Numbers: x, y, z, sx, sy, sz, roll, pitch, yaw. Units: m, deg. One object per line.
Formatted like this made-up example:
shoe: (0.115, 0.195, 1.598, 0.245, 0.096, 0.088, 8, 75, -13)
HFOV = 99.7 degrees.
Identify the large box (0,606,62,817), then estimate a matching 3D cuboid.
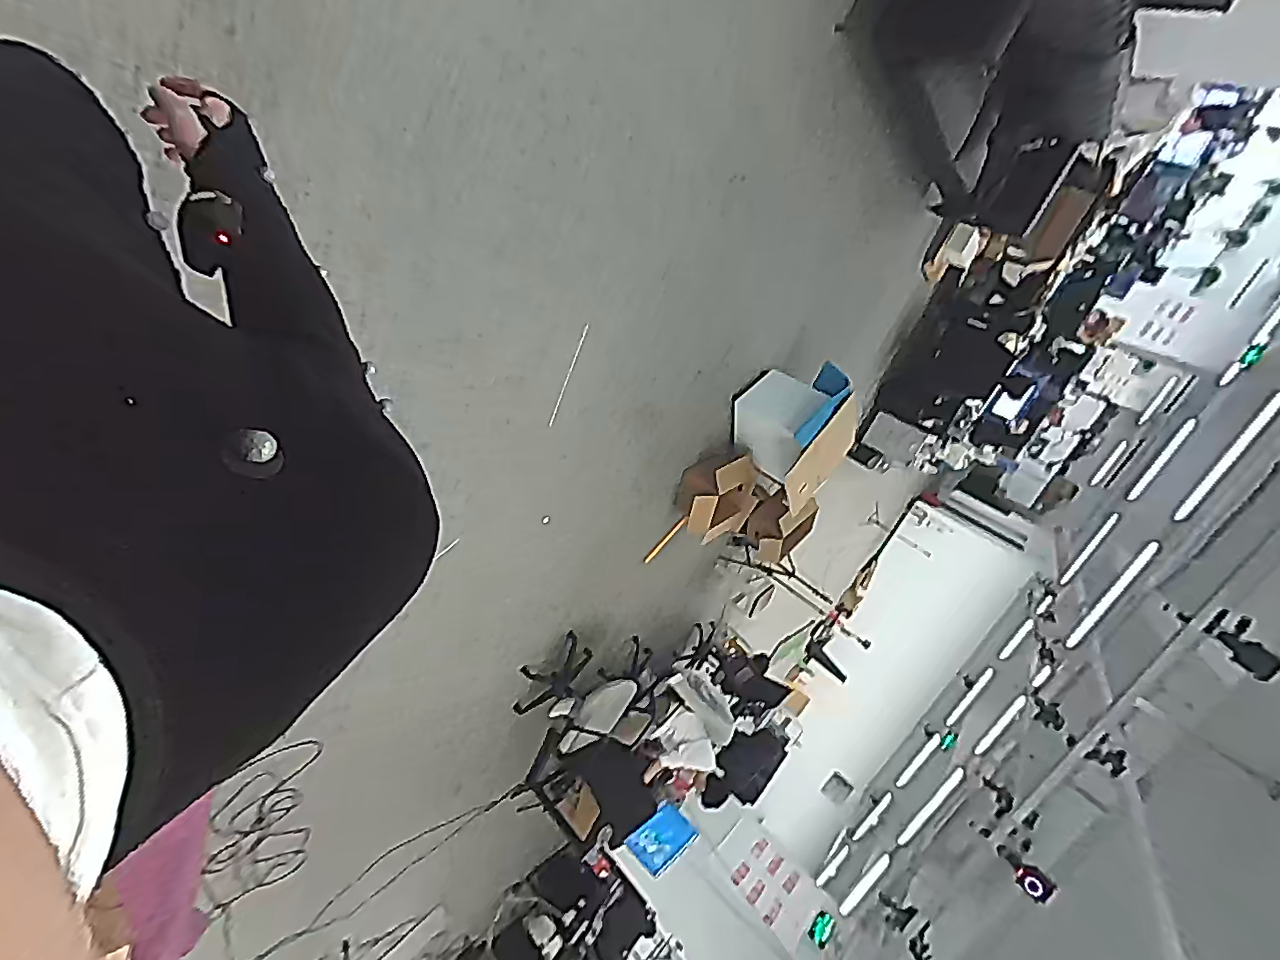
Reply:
large box: (-1.616, 0.570, 1.273, 0.320, 0.320, 0.408, -2, 124, -52)

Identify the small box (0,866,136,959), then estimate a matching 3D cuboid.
small box: (-1.073, 0.872, 1.007, 0.168, 0.176, 0.179, -3, 126, -52)
